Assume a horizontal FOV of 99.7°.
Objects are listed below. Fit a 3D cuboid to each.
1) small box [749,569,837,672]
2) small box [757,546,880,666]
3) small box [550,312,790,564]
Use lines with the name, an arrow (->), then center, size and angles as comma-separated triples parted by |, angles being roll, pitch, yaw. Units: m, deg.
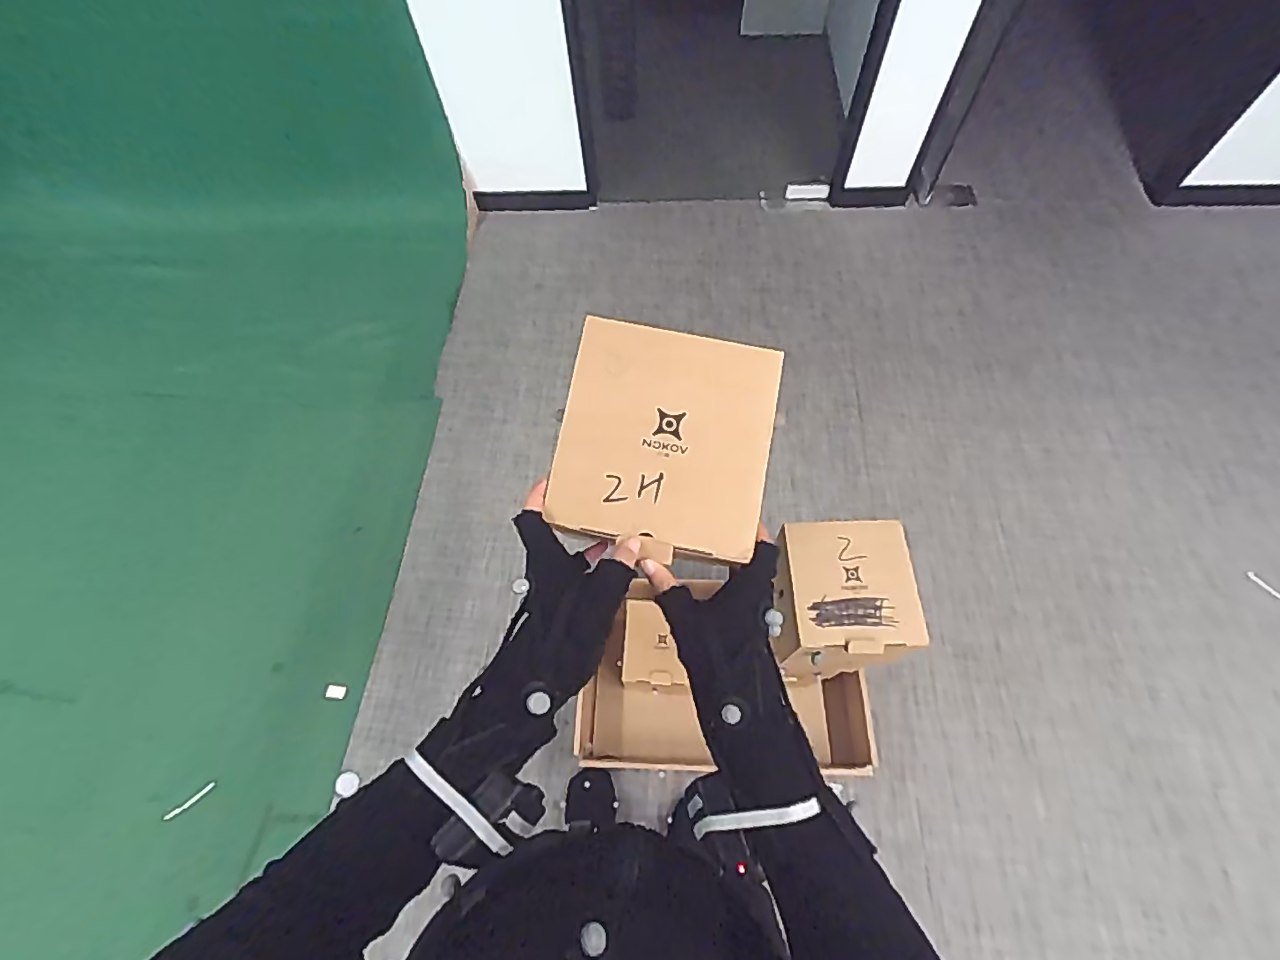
small box -> 0.313, 0.287, 1.088 | 0.168, 0.176, 0.179 | 0, 64, 4
small box -> 0.303, 0.228, 0.954 | 0.168, 0.176, 0.179 | 1, 64, 3
small box -> 0.024, -0.024, 0.501 | 0.168, 0.176, 0.179 | 11, 80, 1
